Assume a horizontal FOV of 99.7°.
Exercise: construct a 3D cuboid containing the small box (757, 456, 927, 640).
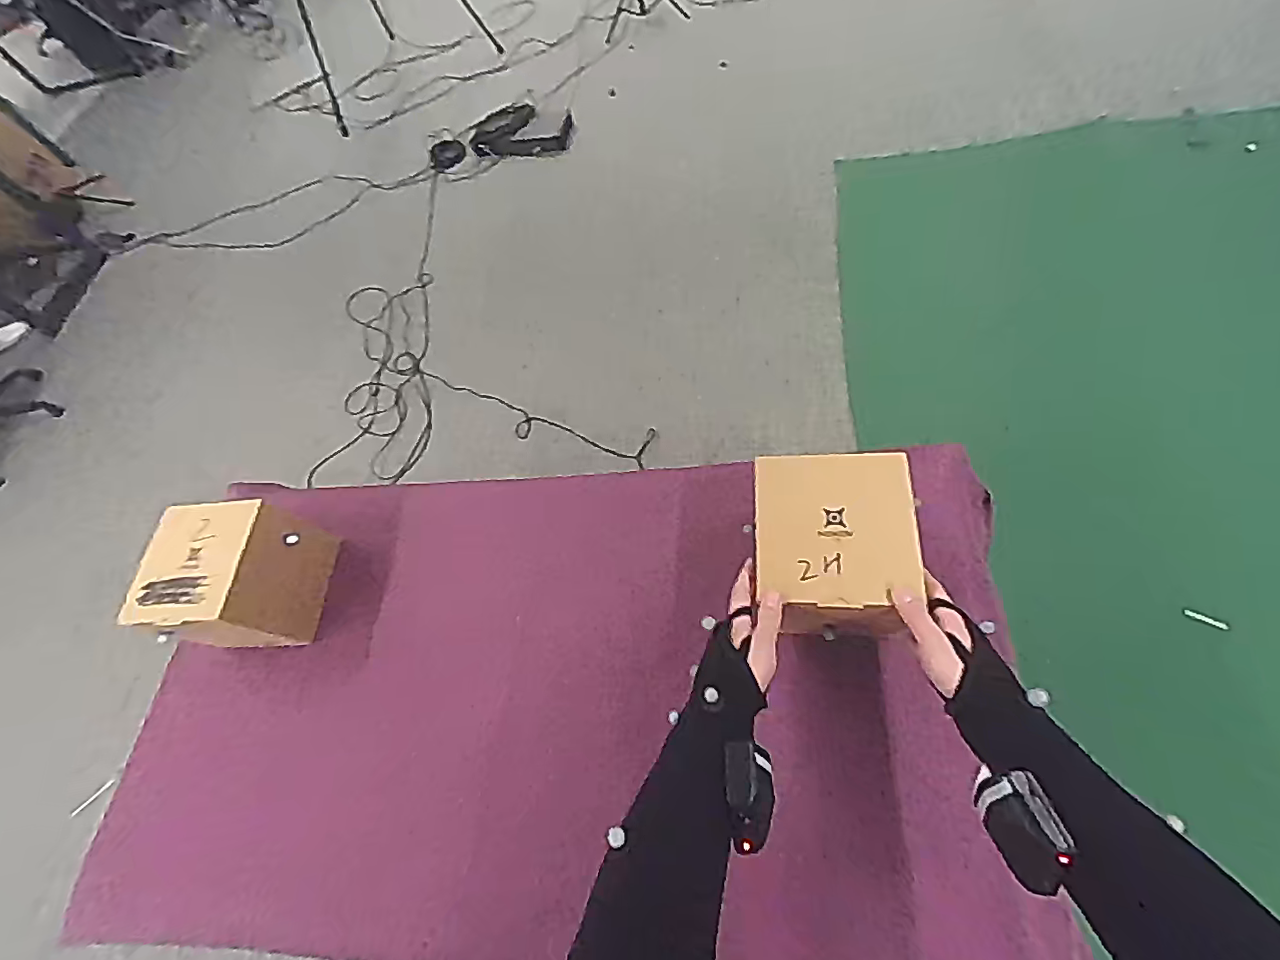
[{"bbox_3d":[0.227,0.086,0.652,0.168,0.176,0.179,0,65,13],"label":"small box"}]
